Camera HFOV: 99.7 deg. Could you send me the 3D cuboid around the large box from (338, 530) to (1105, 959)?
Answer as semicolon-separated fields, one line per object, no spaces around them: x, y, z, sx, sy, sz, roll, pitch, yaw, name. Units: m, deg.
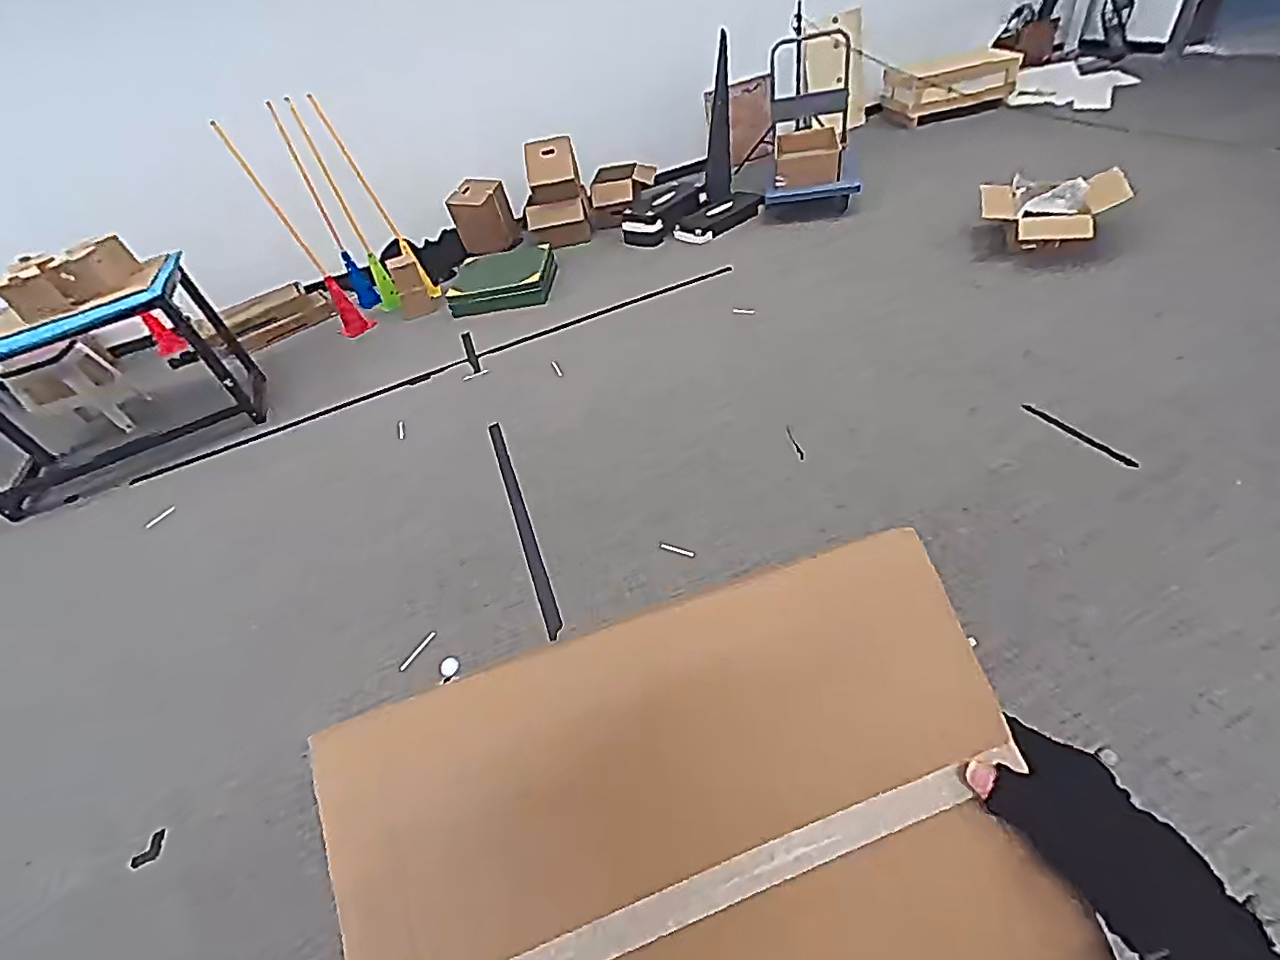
0.040;0.276;0.467;0.408;0.320;0.320;-18;77;-8;large box
